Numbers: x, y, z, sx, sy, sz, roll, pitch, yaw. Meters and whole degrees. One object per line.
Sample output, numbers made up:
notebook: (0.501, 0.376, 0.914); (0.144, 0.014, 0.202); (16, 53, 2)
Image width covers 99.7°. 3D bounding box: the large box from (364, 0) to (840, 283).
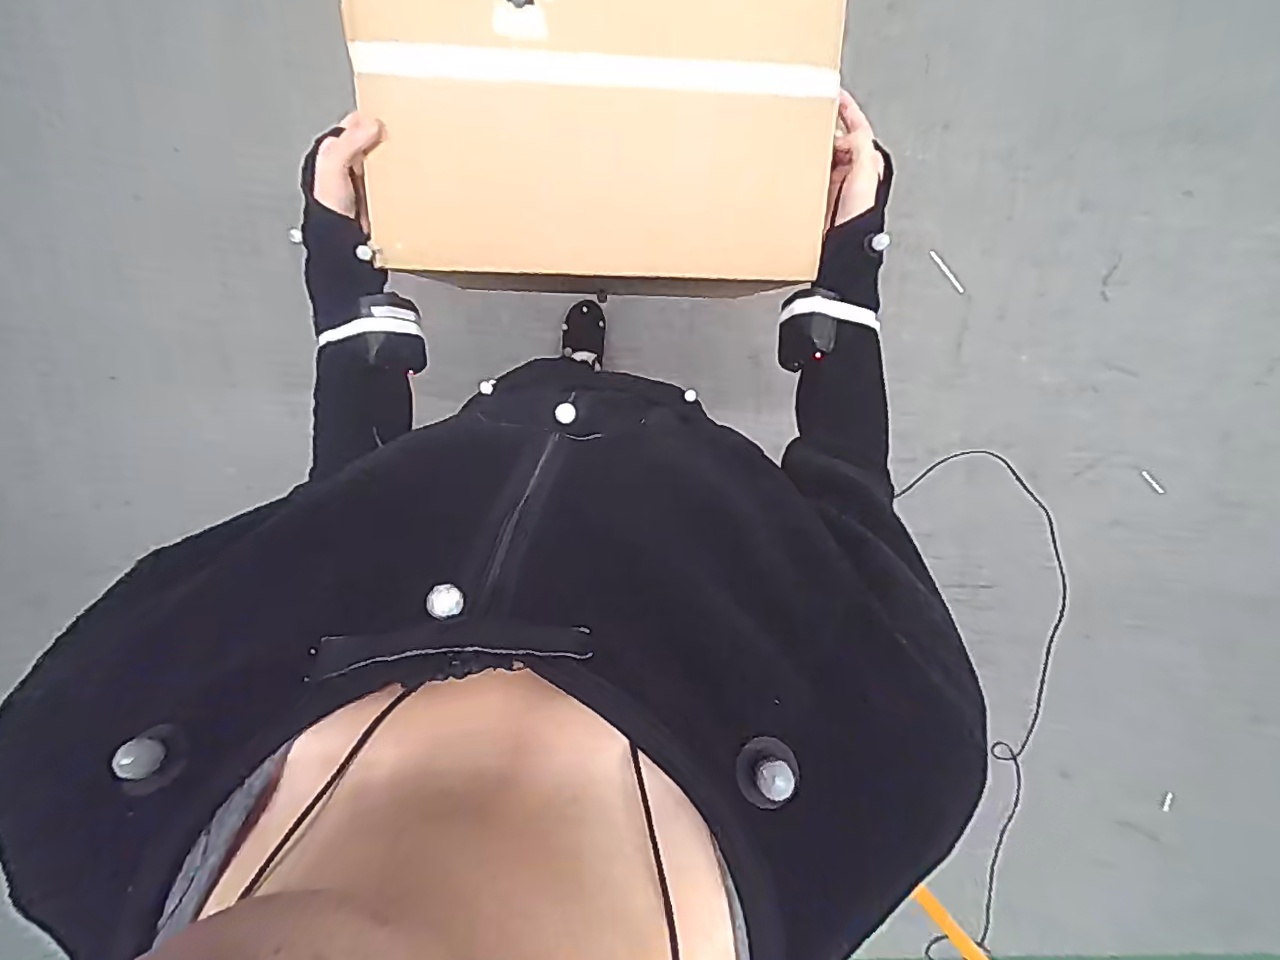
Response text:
large box: (-0.035, -0.392, 0.606); (0.408, 0.320, 0.320); (0, 106, -4)
